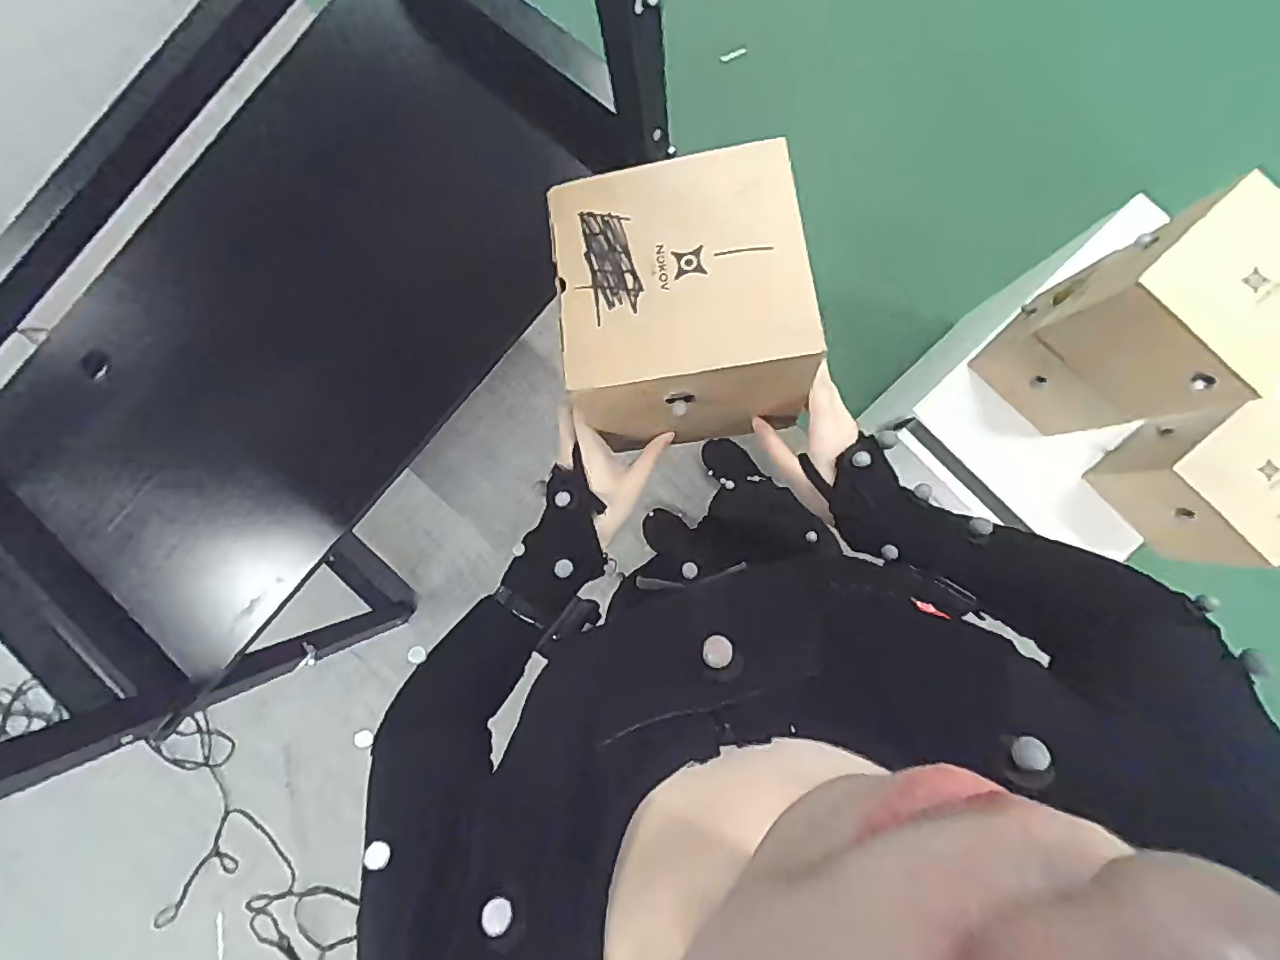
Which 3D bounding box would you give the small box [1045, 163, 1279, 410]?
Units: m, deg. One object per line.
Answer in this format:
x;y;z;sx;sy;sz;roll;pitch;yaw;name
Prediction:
0.628;-0.201;0.618;0.168;0.176;0.179;-44;86;2;small box

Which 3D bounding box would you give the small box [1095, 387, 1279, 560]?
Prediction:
0.808;-0.010;0.755;0.168;0.176;0.179;-42;84;3;small box

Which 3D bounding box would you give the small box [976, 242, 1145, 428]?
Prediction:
0.640;-0.193;0.781;0.179;0.176;0.168;44;92;5;small box
